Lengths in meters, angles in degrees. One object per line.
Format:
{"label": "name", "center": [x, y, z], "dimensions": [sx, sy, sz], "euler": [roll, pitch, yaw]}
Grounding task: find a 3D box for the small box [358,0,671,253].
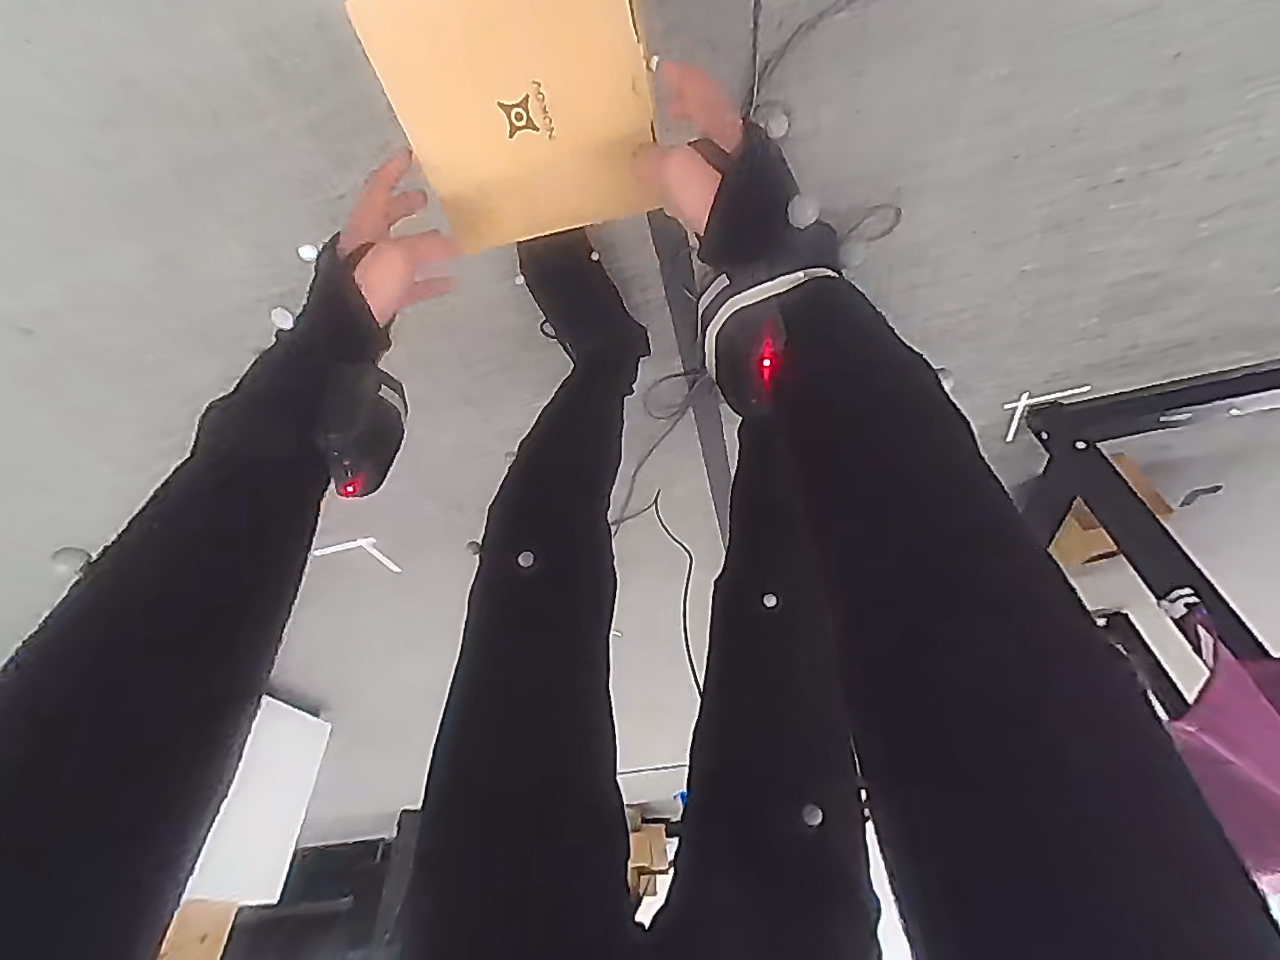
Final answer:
{"label": "small box", "center": [-0.076, -0.312, 0.429], "dimensions": [0.179, 0.176, 0.168], "euler": [-9, 139, 8]}
